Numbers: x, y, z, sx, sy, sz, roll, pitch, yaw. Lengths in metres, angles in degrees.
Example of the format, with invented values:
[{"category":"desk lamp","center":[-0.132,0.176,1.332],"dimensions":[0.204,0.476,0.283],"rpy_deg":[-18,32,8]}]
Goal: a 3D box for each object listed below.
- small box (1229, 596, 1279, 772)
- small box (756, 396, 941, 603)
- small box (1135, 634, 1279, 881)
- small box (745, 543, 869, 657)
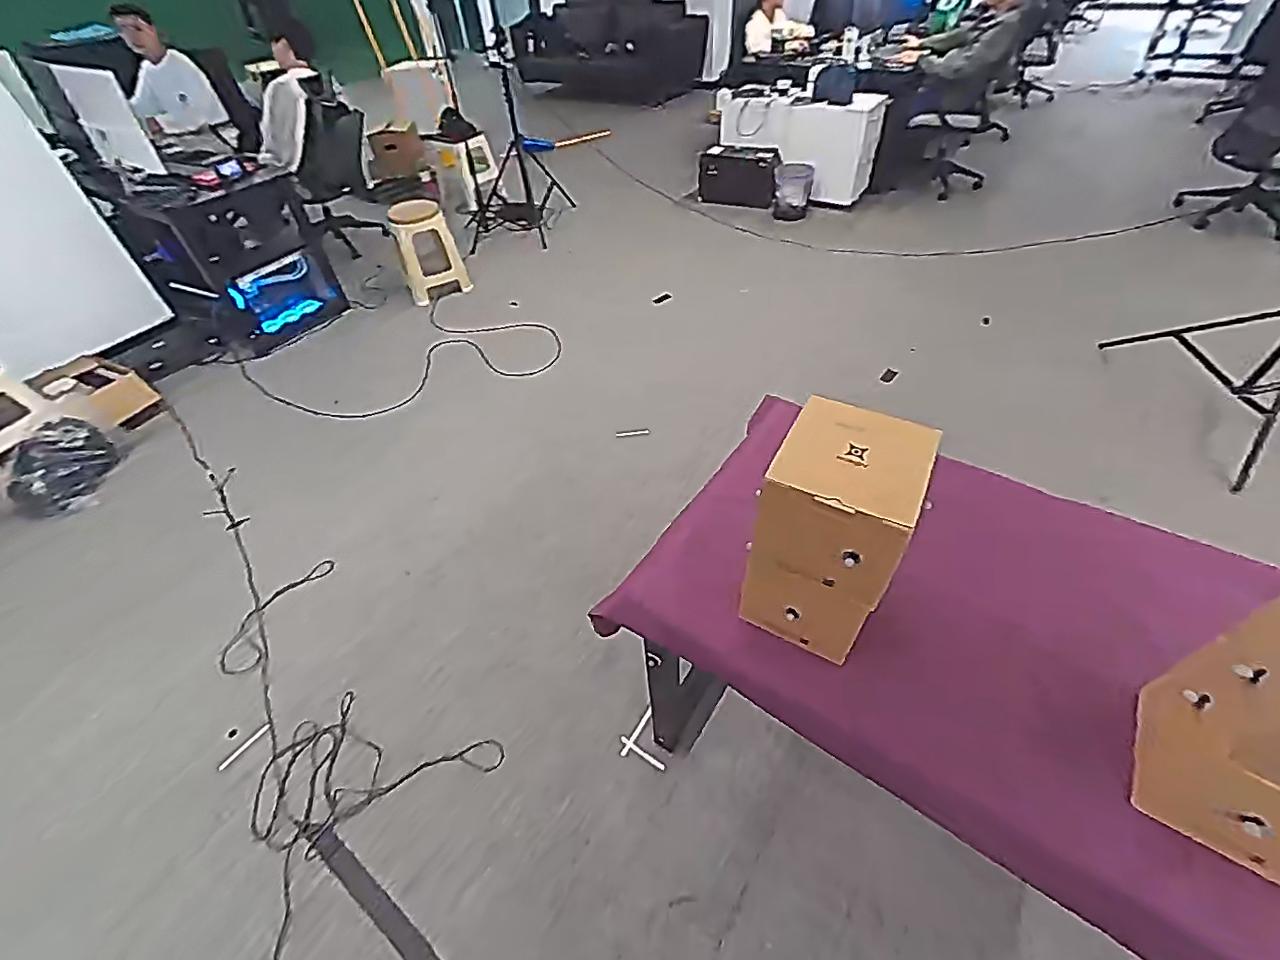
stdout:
[{"category":"small box","center":[0.701,0.202,0.494],"dimensions":[0.168,0.176,0.179],"rpy_deg":[26,53,26]},{"category":"small box","center":[0.257,0.026,0.693],"dimensions":[0.168,0.176,0.179],"rpy_deg":[21,50,21]},{"category":"small box","center":[0.707,0.318,0.609],"dimensions":[0.168,0.176,0.179],"rpy_deg":[25,52,26]},{"category":"small box","center":[0.267,0.133,0.814],"dimensions":[0.168,0.176,0.179],"rpy_deg":[22,51,22]}]
